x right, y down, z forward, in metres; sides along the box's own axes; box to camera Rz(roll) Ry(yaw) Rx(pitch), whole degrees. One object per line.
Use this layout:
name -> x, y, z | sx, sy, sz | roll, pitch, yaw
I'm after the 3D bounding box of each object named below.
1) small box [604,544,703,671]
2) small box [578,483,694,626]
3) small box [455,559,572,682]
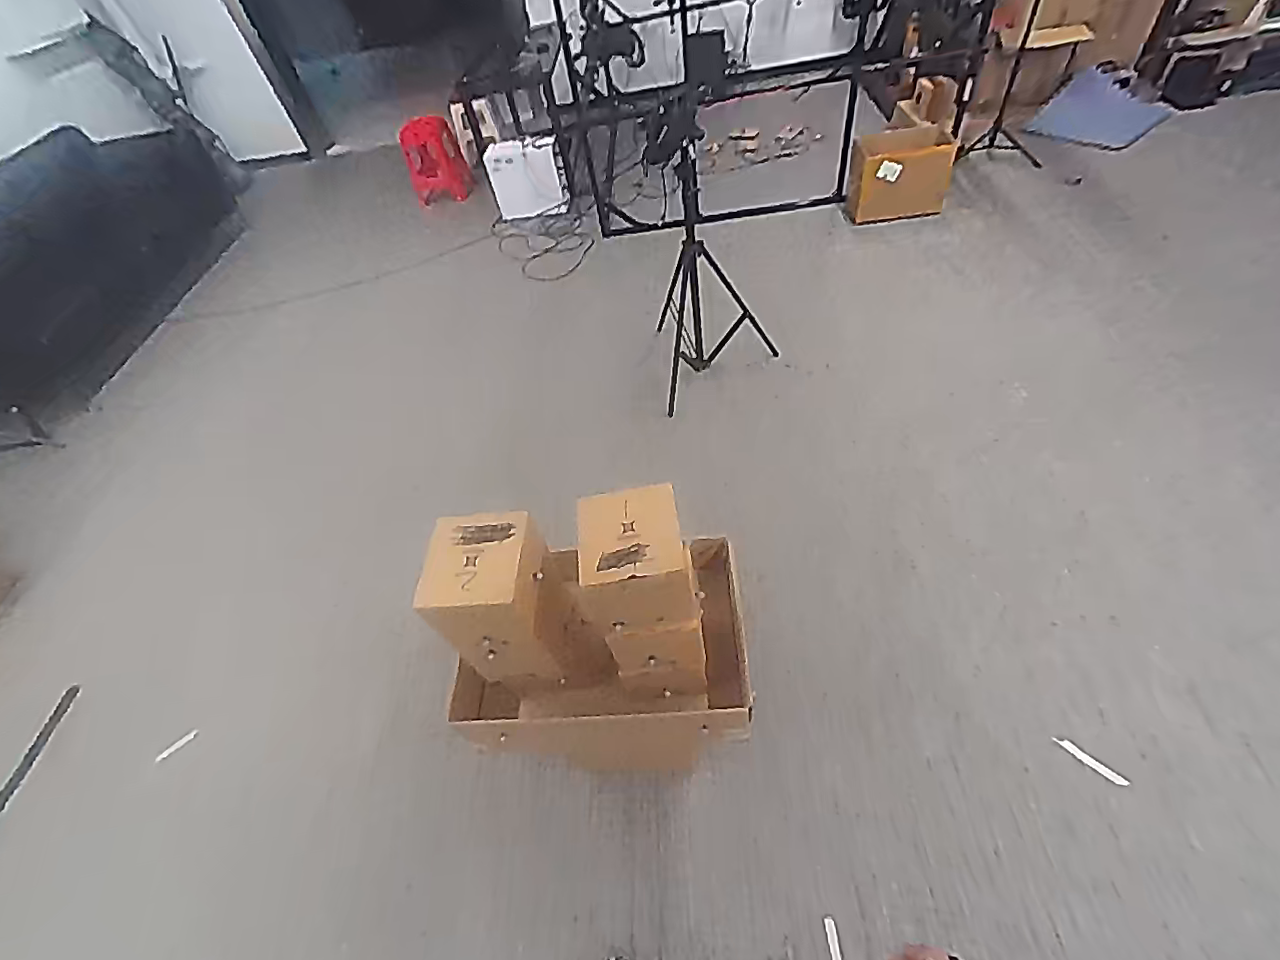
small box -> 0.027, 0.246, 1.038 | 0.168, 0.176, 0.179 | -8, 50, 5
small box -> -0.005, 0.135, 0.921 | 0.168, 0.176, 0.179 | -10, 49, 3
small box -> -0.237, 0.278, 1.065 | 0.168, 0.176, 0.179 | -6, 49, 8
